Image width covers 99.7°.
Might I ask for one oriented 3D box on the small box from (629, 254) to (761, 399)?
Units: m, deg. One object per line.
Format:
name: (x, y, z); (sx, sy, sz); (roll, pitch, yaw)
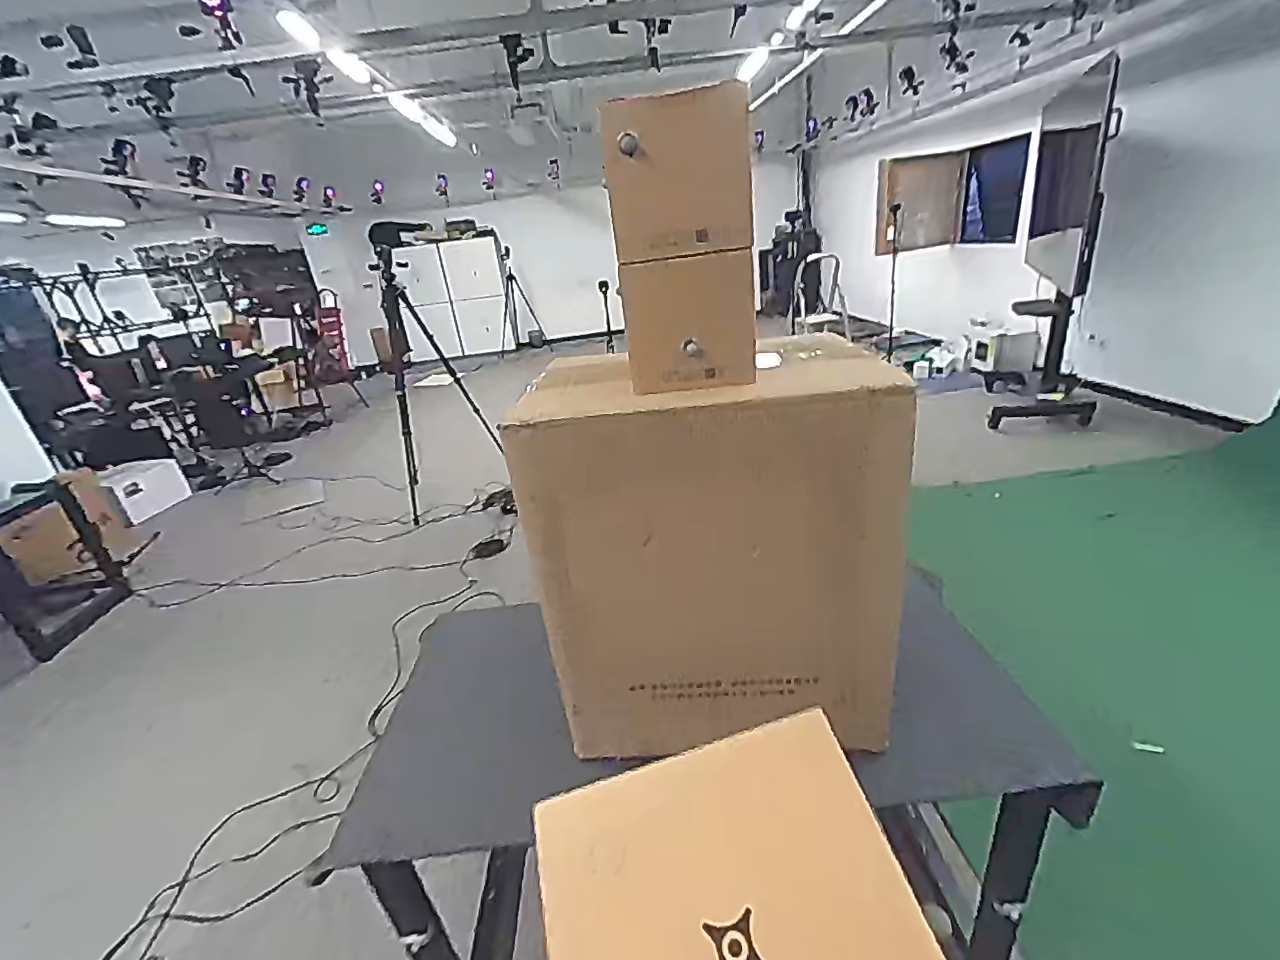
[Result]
small box: (0.078, -0.222, 0.775); (0.168, 0.176, 0.179); (-5, 26, 5)
